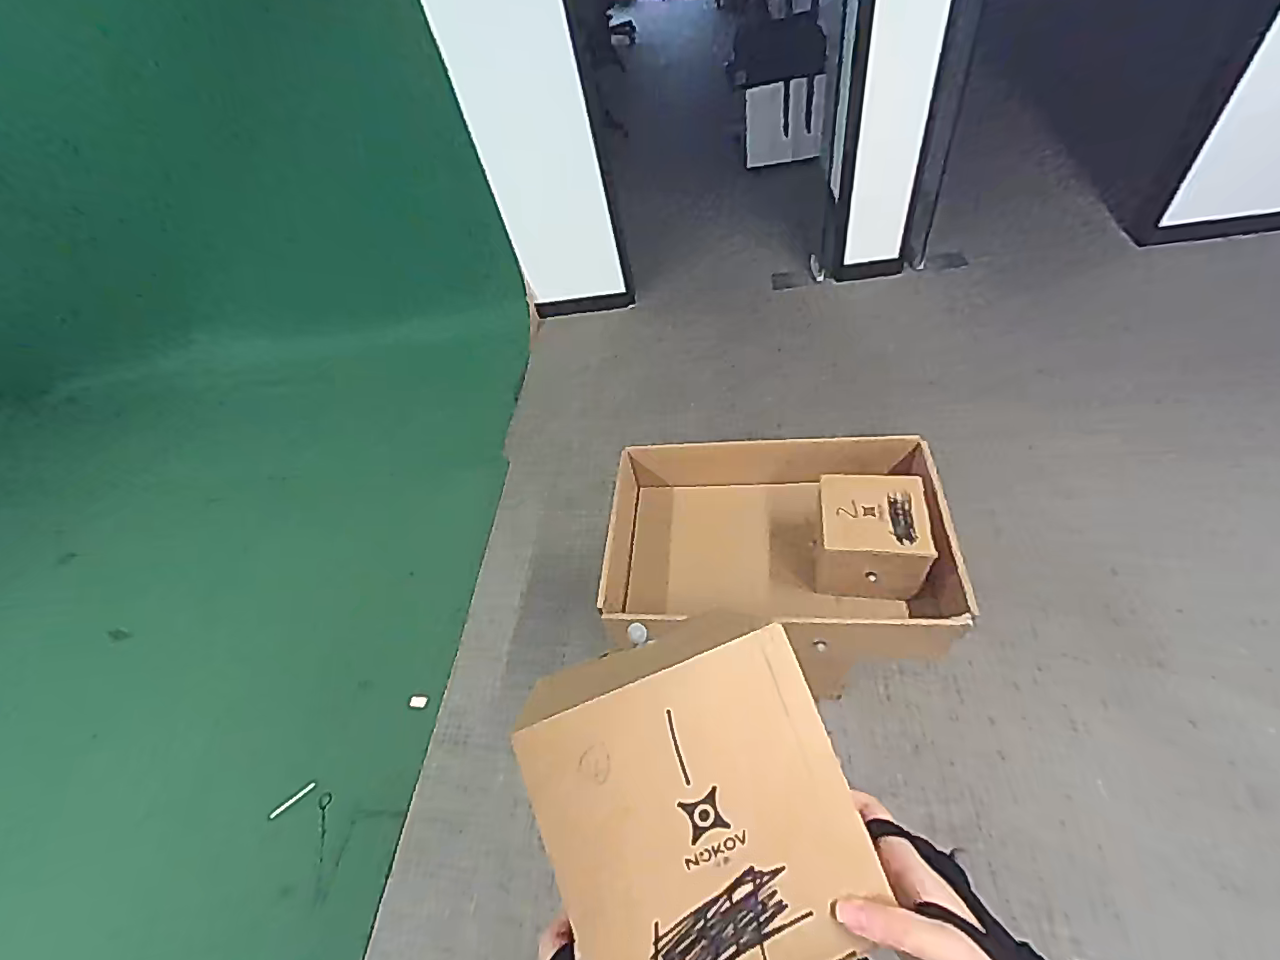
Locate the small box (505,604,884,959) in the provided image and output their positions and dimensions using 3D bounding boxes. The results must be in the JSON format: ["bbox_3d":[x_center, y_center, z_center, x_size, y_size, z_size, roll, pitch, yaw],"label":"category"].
[{"bbox_3d":[0.024,0.198,0.375,0.168,0.176,0.179,-20,81,-8],"label":"small box"}]
